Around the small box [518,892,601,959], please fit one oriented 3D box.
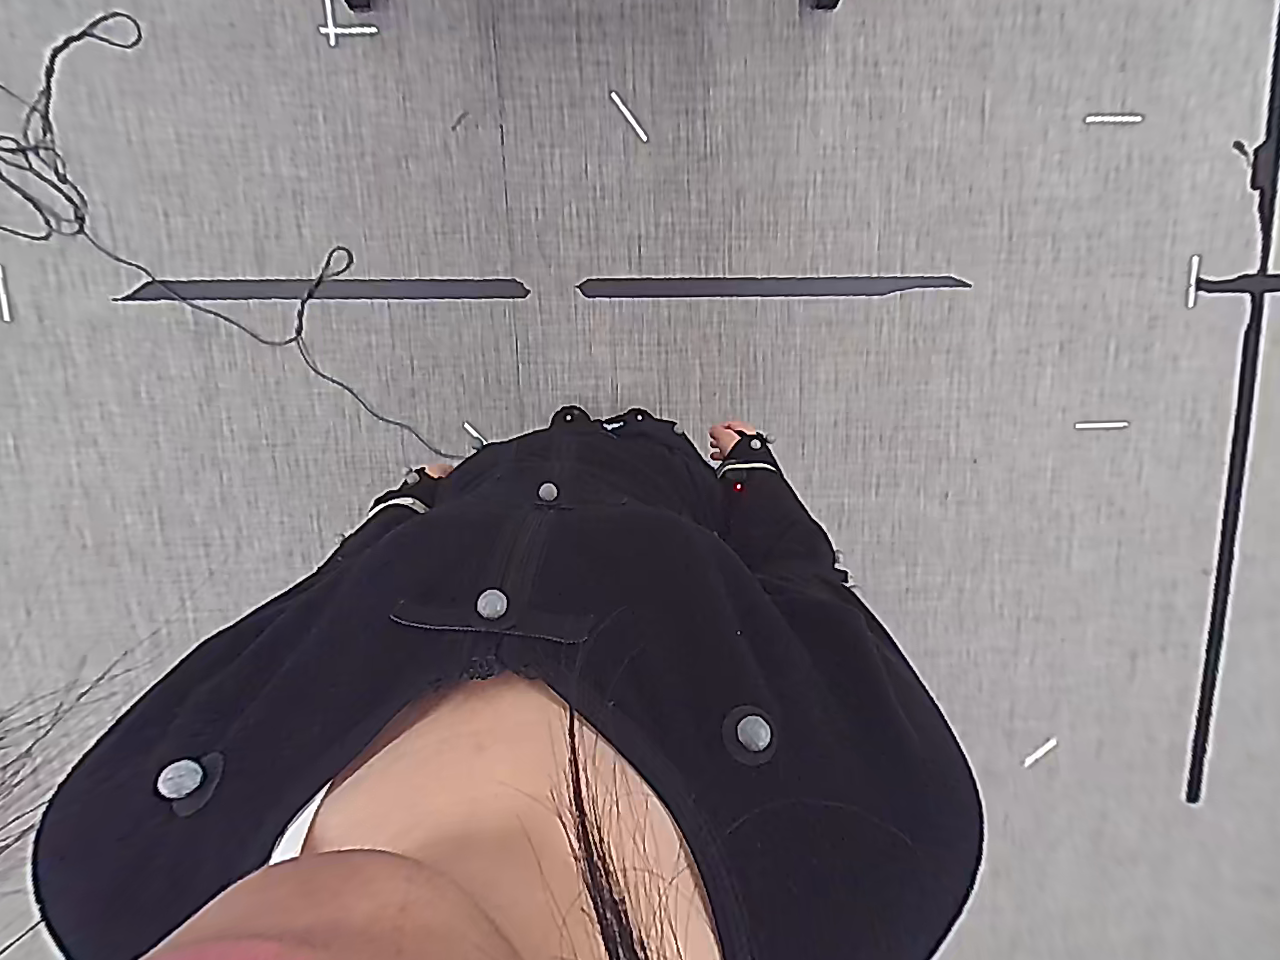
[{"bbox_3d":[-0.182,1.104,1.261,0.179,0.176,0.168,-3,96,-1],"label":"small box"}]
